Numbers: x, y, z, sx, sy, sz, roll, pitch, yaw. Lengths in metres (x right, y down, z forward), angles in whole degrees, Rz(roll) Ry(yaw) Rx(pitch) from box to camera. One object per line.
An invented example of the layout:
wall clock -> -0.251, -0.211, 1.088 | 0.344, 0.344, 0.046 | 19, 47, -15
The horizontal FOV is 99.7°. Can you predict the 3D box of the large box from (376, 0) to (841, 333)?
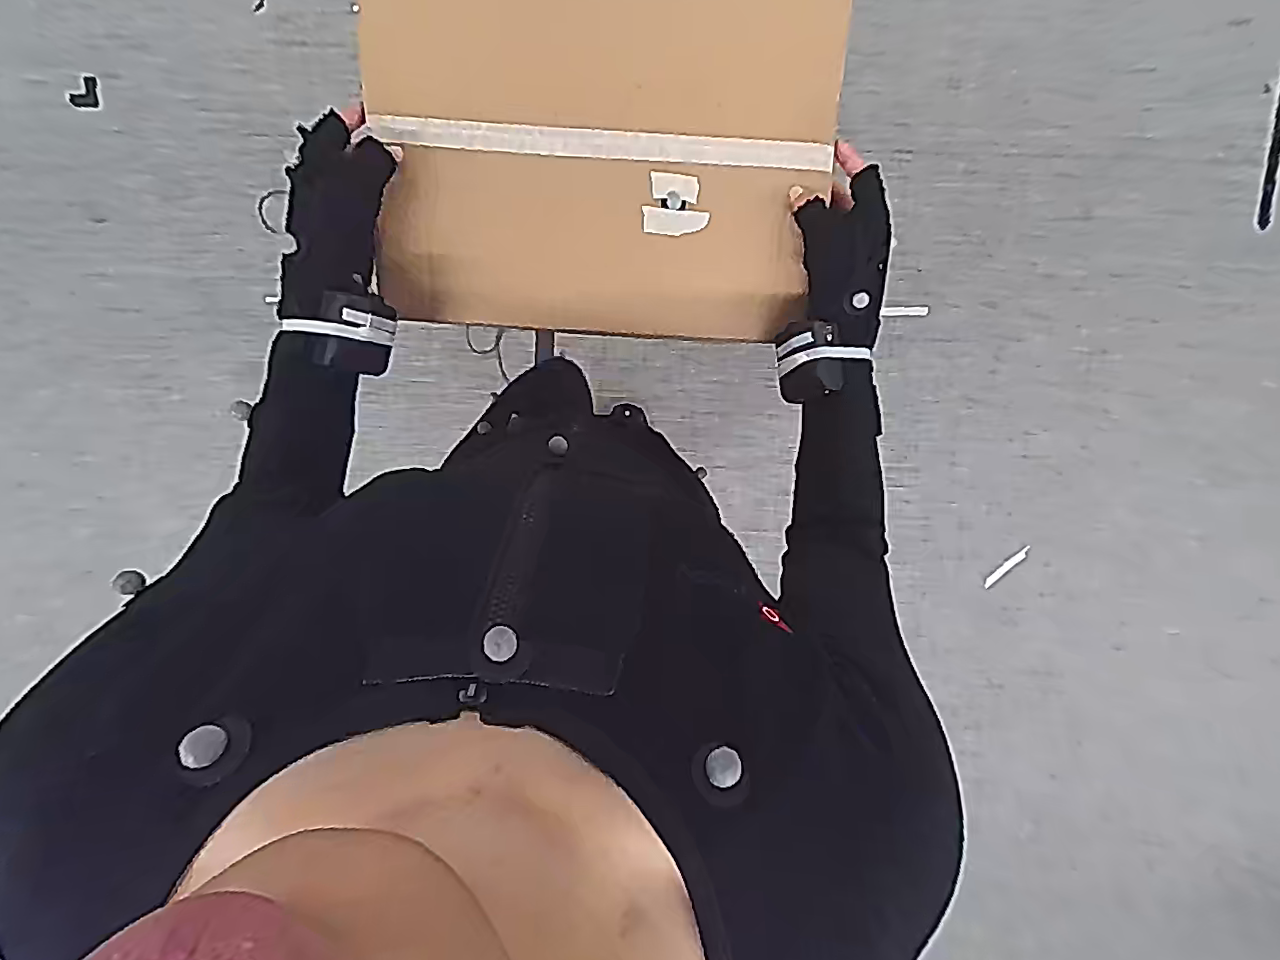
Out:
large box -> -0.035, -0.340, 0.631 | 0.408, 0.320, 0.320 | 3, 105, -2
